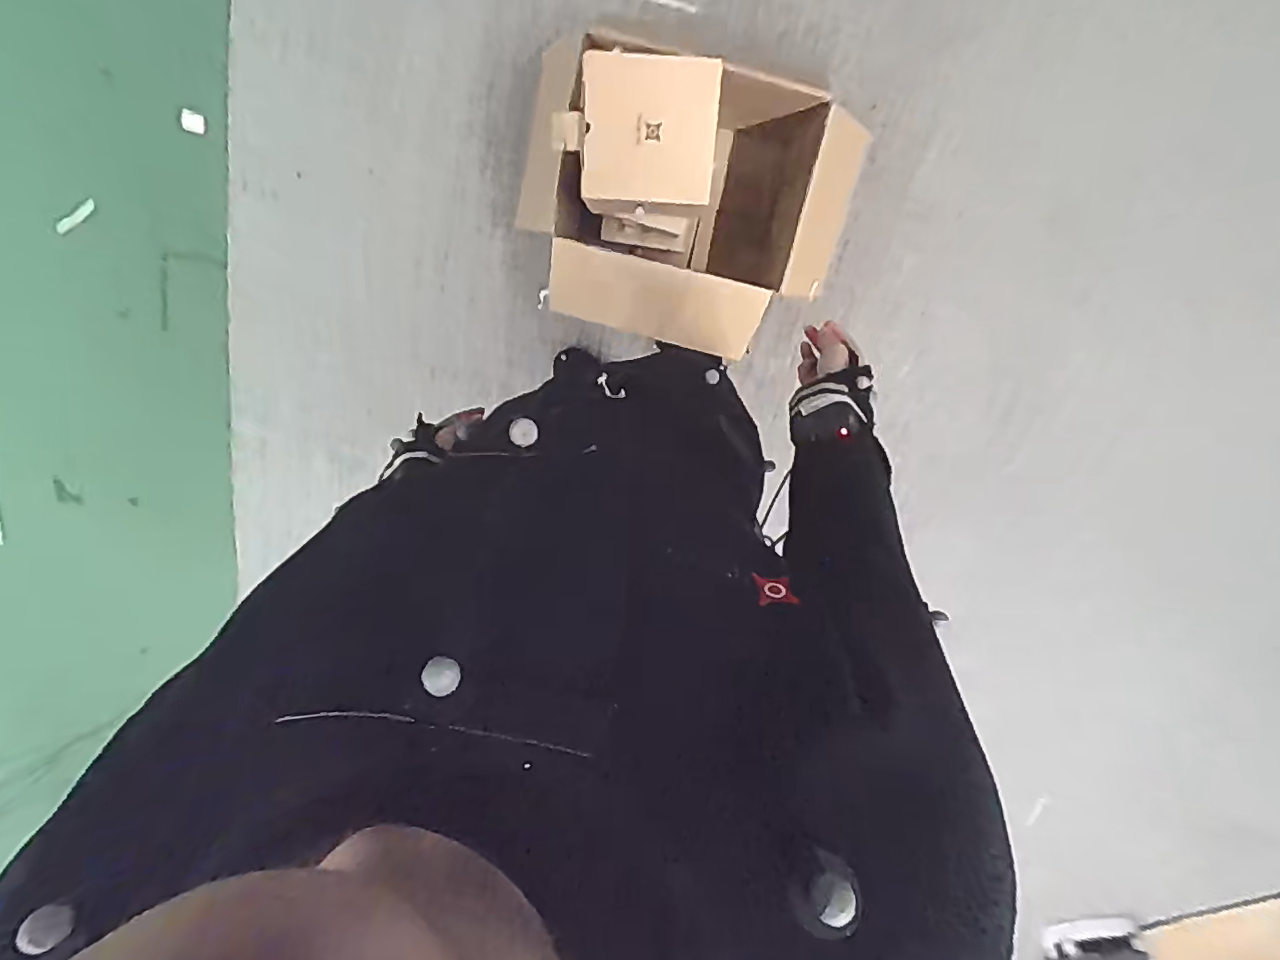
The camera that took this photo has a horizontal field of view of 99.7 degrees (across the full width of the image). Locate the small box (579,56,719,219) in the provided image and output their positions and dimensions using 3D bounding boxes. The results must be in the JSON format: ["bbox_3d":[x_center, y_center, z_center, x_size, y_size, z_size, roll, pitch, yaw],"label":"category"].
[{"bbox_3d":[0.008,-0.474,0.775,0.179,0.176,0.168,3,111,-1],"label":"small box"}]

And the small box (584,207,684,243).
[{"bbox_3d":[0.006,-0.524,0.930,0.168,0.176,0.179,14,111,-6],"label":"small box"}]
